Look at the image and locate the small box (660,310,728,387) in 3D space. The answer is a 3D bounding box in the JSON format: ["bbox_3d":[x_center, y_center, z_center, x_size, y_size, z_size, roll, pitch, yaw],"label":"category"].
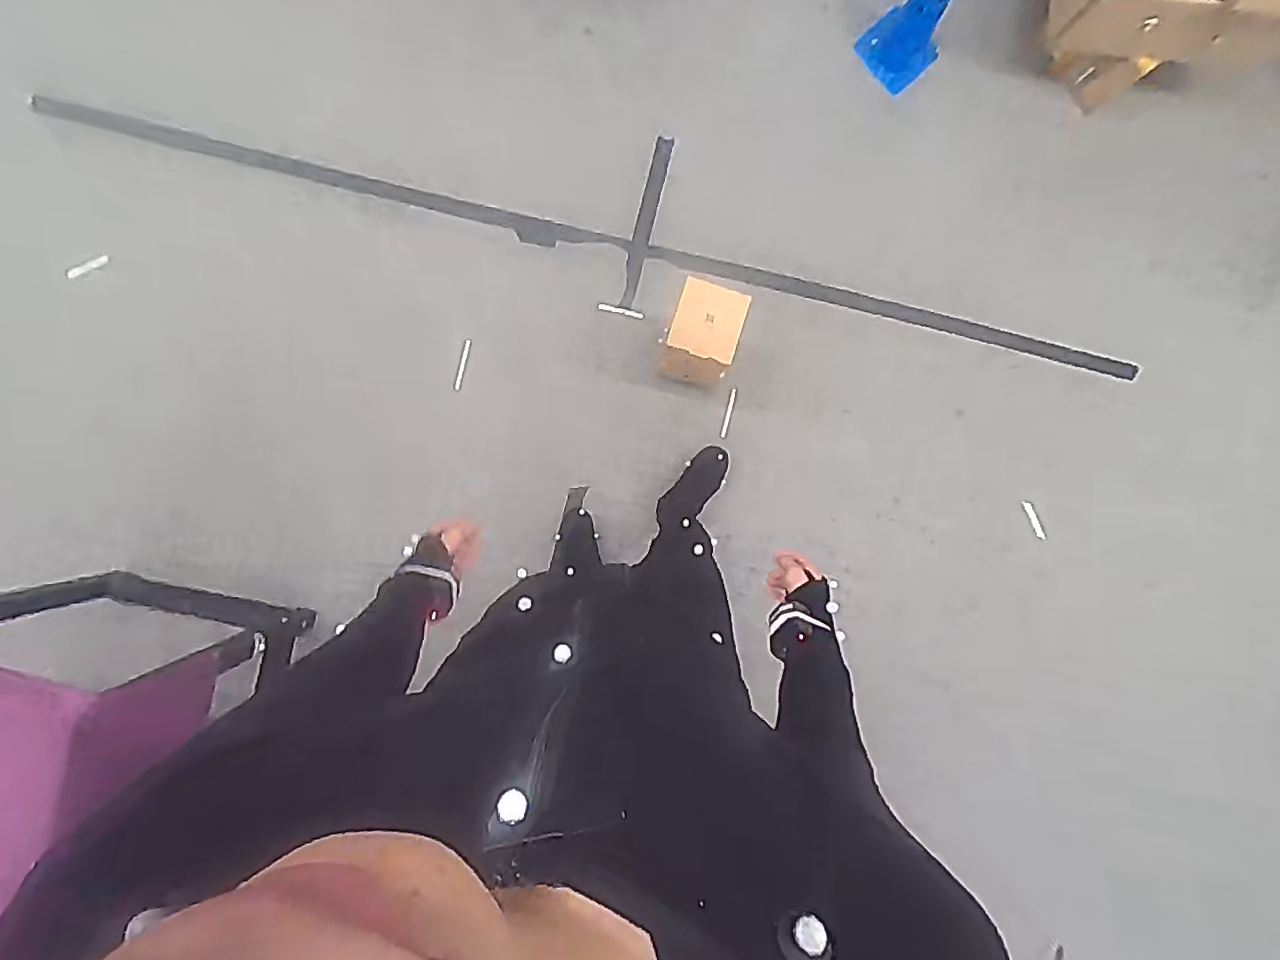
[{"bbox_3d":[0.163,-0.369,1.544,0.179,0.176,0.168,13,90,-2],"label":"small box"}]

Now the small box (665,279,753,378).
[{"bbox_3d":[0.169,-0.378,1.381,0.168,0.176,0.179,17,91,-3],"label":"small box"}]
